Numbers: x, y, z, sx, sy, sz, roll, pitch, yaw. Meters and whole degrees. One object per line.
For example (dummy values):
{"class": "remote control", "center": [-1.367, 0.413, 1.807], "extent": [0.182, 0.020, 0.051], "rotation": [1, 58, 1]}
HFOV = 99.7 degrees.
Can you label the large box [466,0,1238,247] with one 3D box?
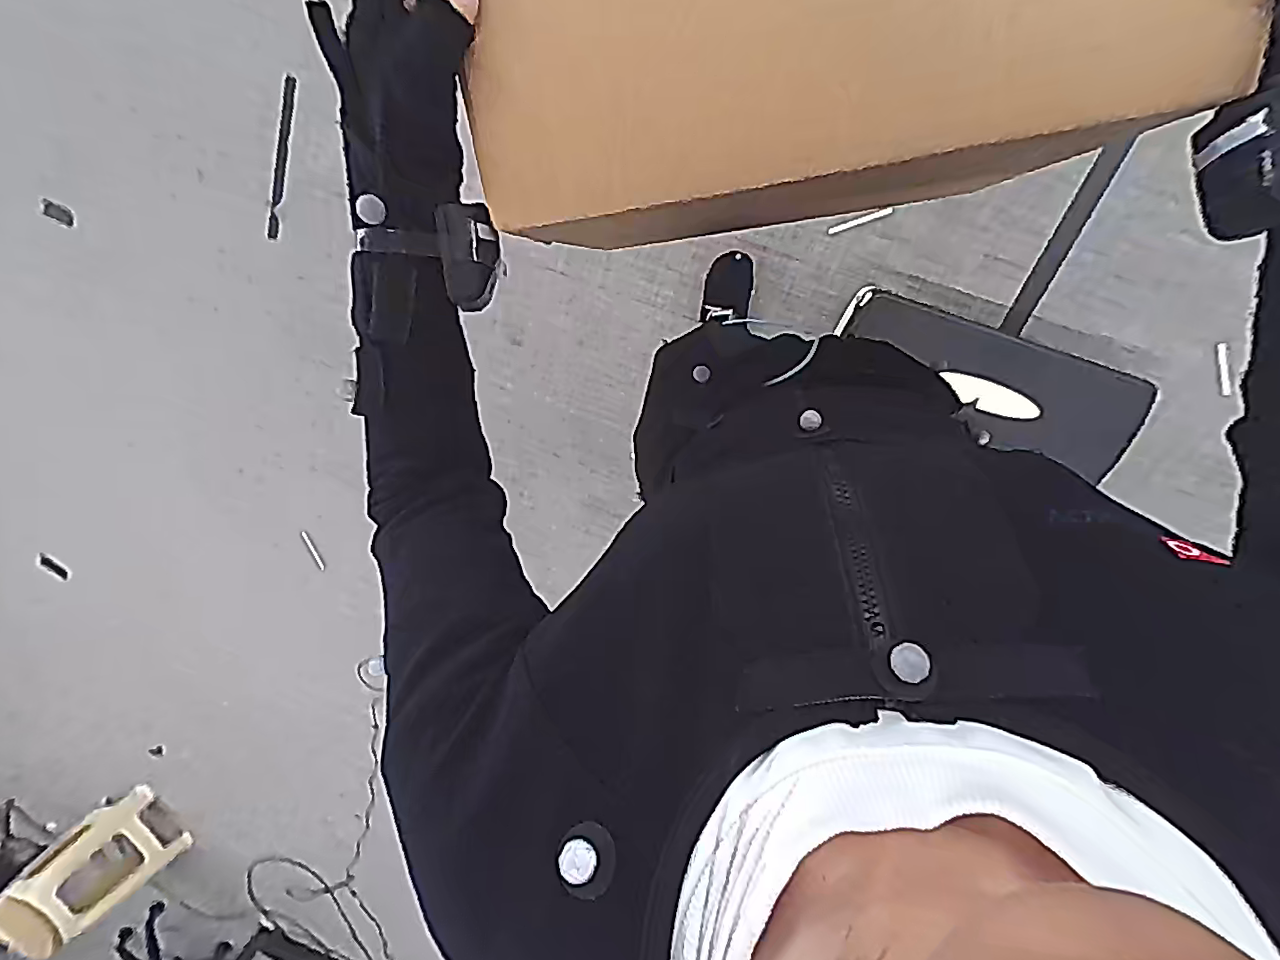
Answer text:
{"class": "large box", "center": [0.106, -0.381, 0.406], "extent": [0.408, 0.320, 0.320], "rotation": [-5, 110, 10]}
